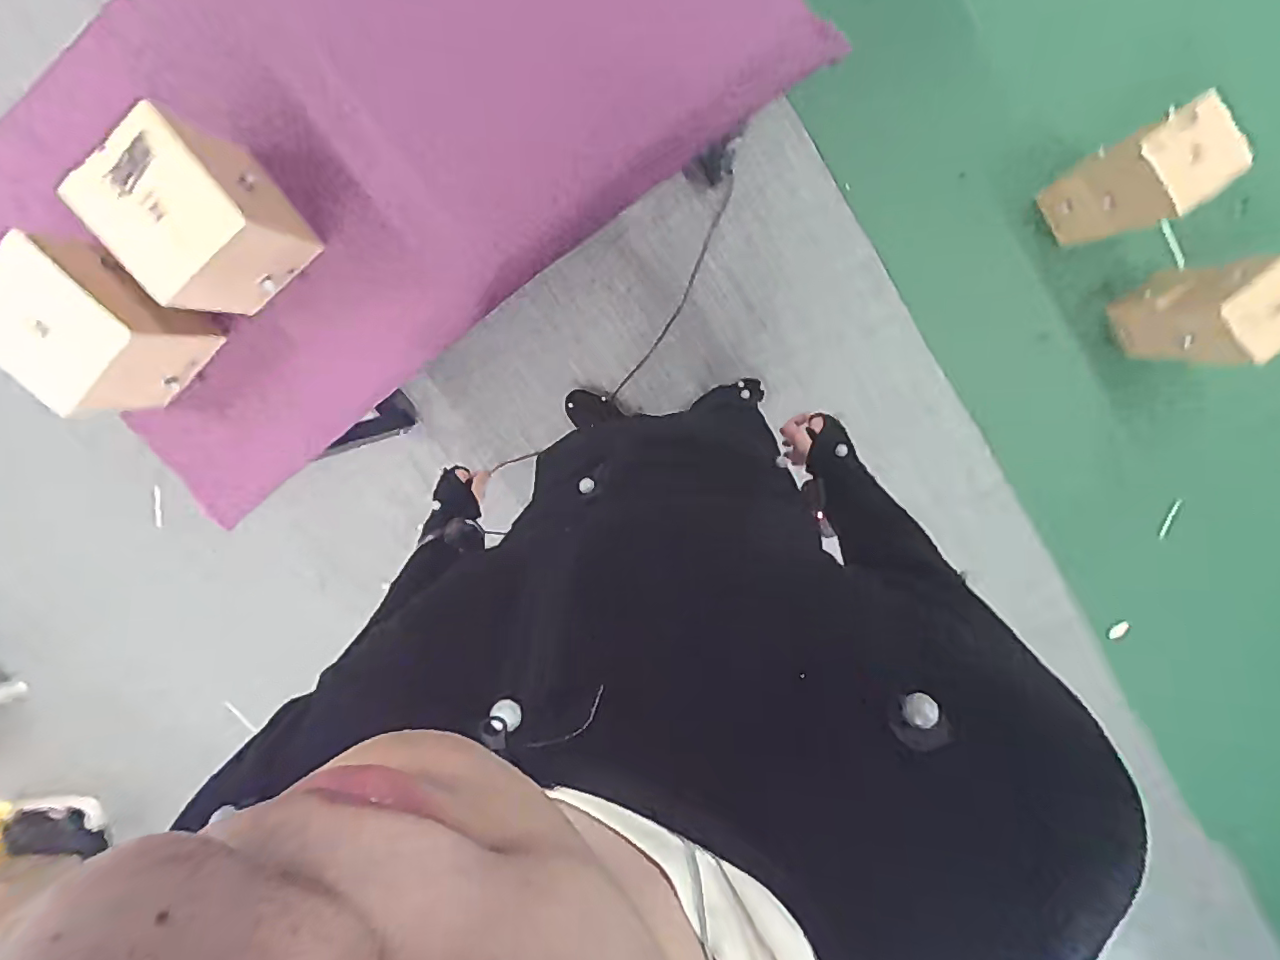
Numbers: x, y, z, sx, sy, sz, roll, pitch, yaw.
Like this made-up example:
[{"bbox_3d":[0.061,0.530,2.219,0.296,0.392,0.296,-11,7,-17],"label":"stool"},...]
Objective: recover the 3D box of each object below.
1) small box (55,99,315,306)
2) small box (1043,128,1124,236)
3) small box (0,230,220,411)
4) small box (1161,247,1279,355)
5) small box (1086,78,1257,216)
[{"bbox_3d":[-0.608,-0.361,0.748,0.168,0.176,0.179,-36,100,10],"label":"small box"},{"bbox_3d":[1.144,-0.735,1.329,0.179,0.176,0.168,-36,99,9],"label":"small box"},{"bbox_3d":[-0.785,-0.223,0.789,0.168,0.176,0.179,-41,99,11],"label":"small box"},{"bbox_3d":[1.368,-0.405,1.228,0.179,0.176,0.168,-43,98,12],"label":"small box"},{"bbox_3d":[1.135,-0.701,1.169,0.168,0.176,0.179,-38,99,10],"label":"small box"}]
